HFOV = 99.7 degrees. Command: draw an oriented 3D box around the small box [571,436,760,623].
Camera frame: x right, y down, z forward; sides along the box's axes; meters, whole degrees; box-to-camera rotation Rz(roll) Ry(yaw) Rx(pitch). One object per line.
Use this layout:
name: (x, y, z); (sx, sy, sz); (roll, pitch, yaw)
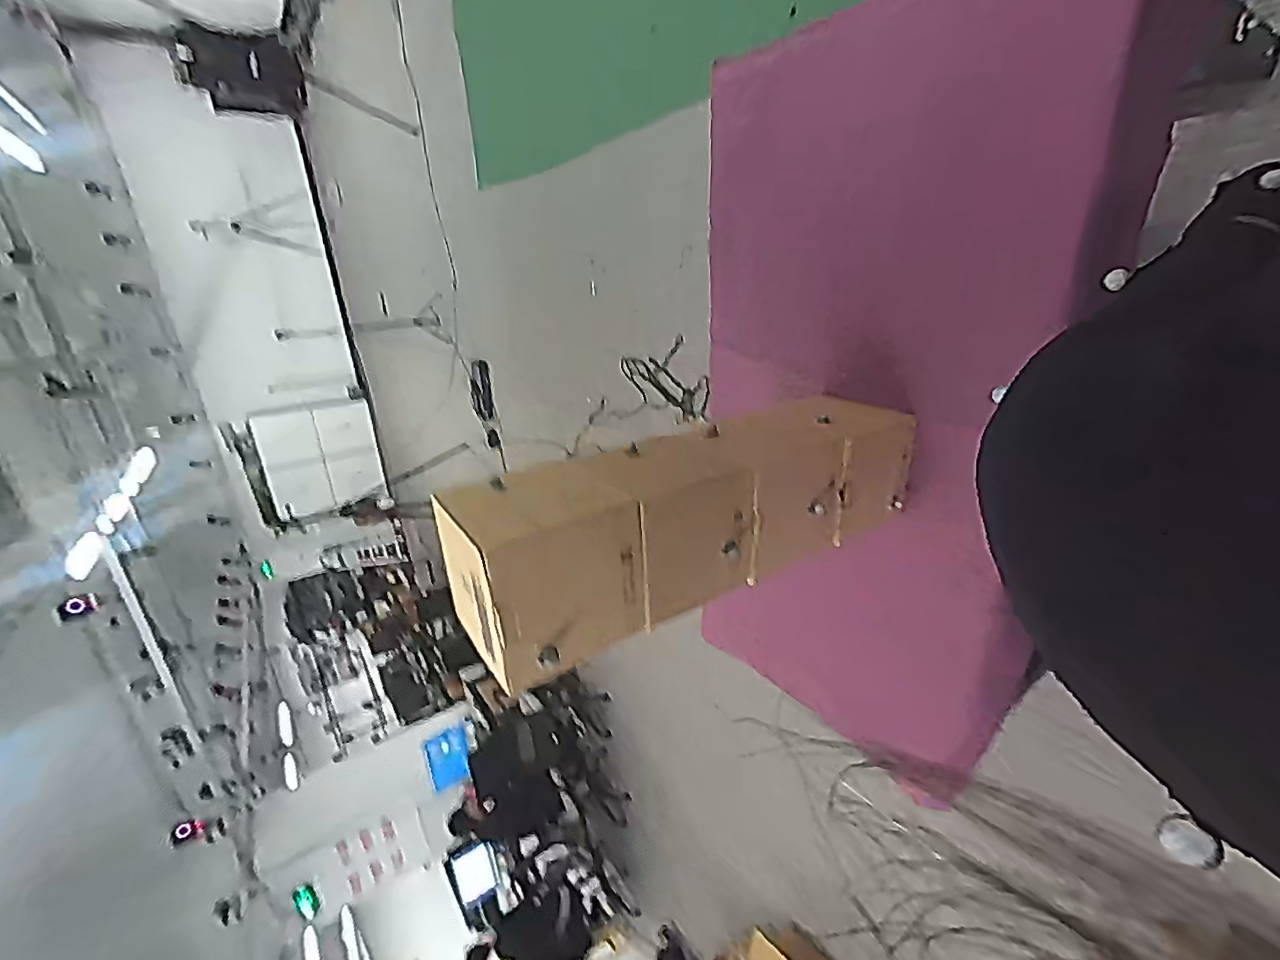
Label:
small box: (0.030, 0.048, 0.696); (0.179, 0.176, 0.168); (26, 126, 50)

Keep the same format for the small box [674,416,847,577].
small box: (0.166, 0.011, 0.778); (0.179, 0.176, 0.168); (26, 126, 50)

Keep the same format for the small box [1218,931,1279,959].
small box: (1.344, 1.139, 1.157); (0.168, 0.176, 0.179); (22, 123, 51)

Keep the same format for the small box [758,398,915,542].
small box: (0.304, -0.028, 0.858); (0.179, 0.176, 0.168); (28, 126, 50)
